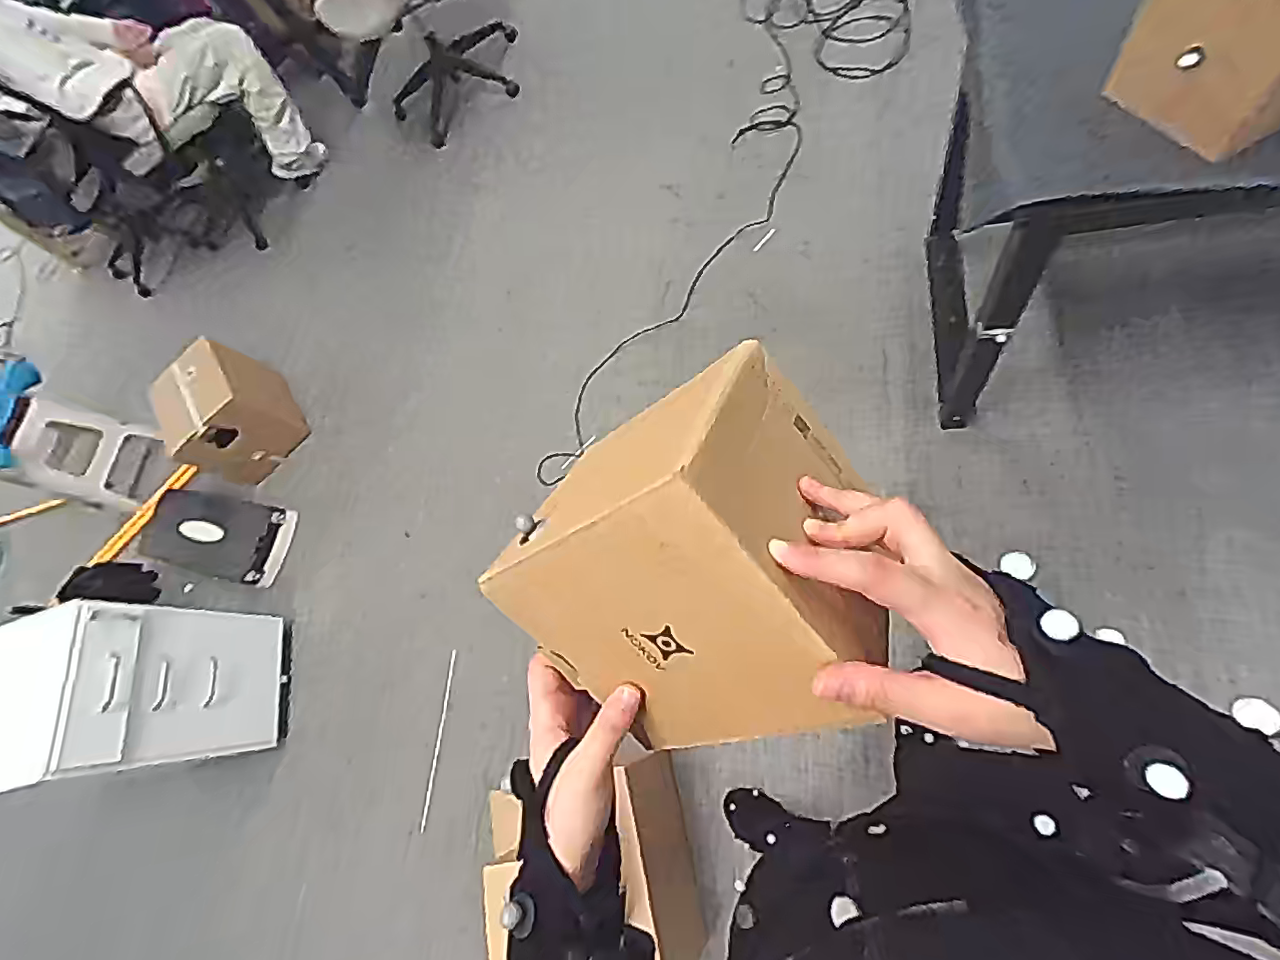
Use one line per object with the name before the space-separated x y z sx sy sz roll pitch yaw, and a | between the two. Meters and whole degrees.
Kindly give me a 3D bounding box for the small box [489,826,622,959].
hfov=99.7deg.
small box | -0.144 0.742 0.955 0.168 0.176 0.179 -18 67 12
